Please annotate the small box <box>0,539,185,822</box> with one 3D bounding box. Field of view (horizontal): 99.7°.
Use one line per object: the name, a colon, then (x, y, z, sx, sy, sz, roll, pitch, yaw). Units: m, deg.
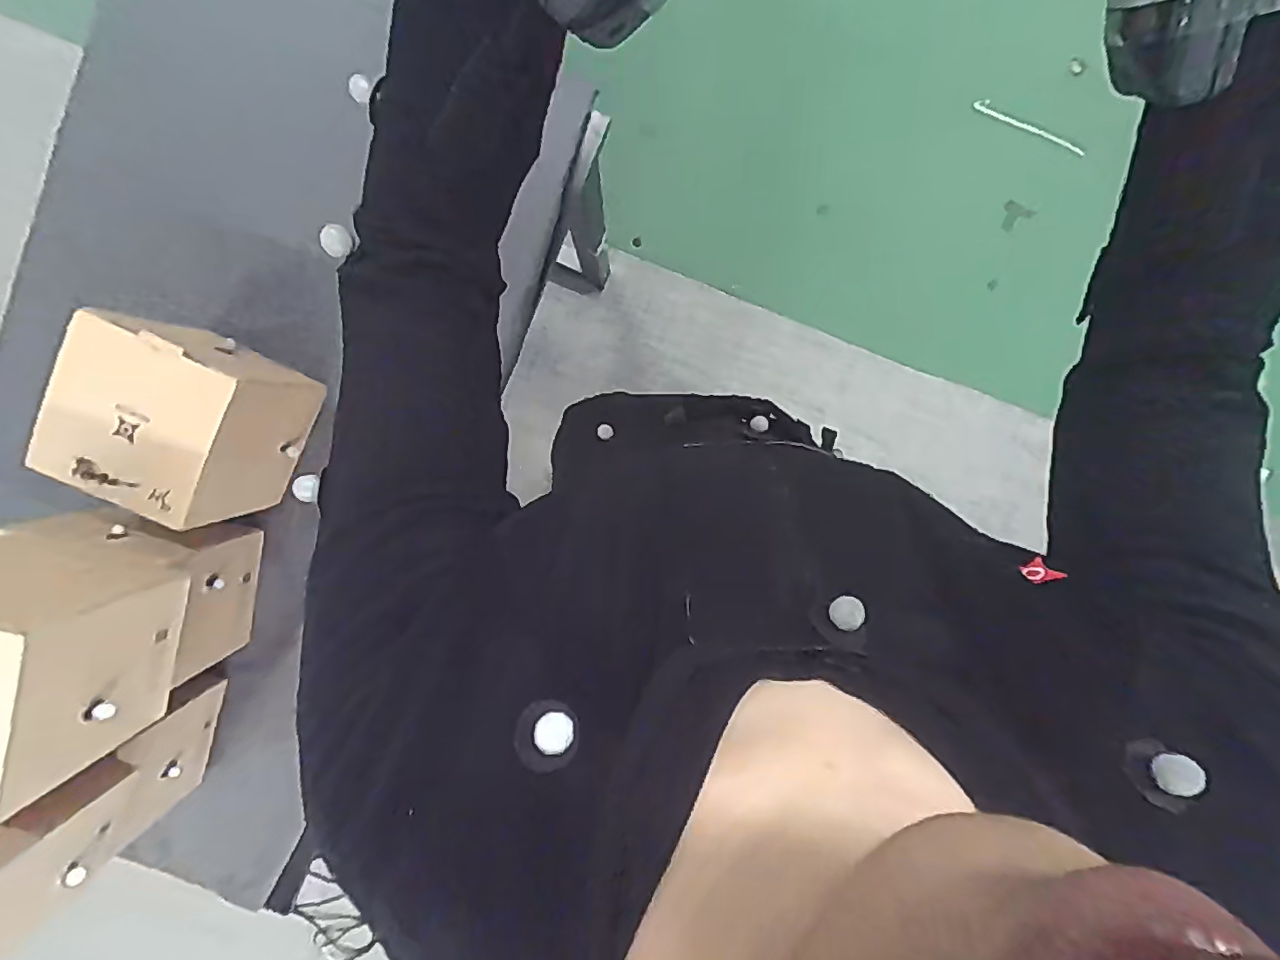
small box: (-0.565, 0.161, 0.485, 0.179, 0.176, 0.168, 14, 95, -3)
